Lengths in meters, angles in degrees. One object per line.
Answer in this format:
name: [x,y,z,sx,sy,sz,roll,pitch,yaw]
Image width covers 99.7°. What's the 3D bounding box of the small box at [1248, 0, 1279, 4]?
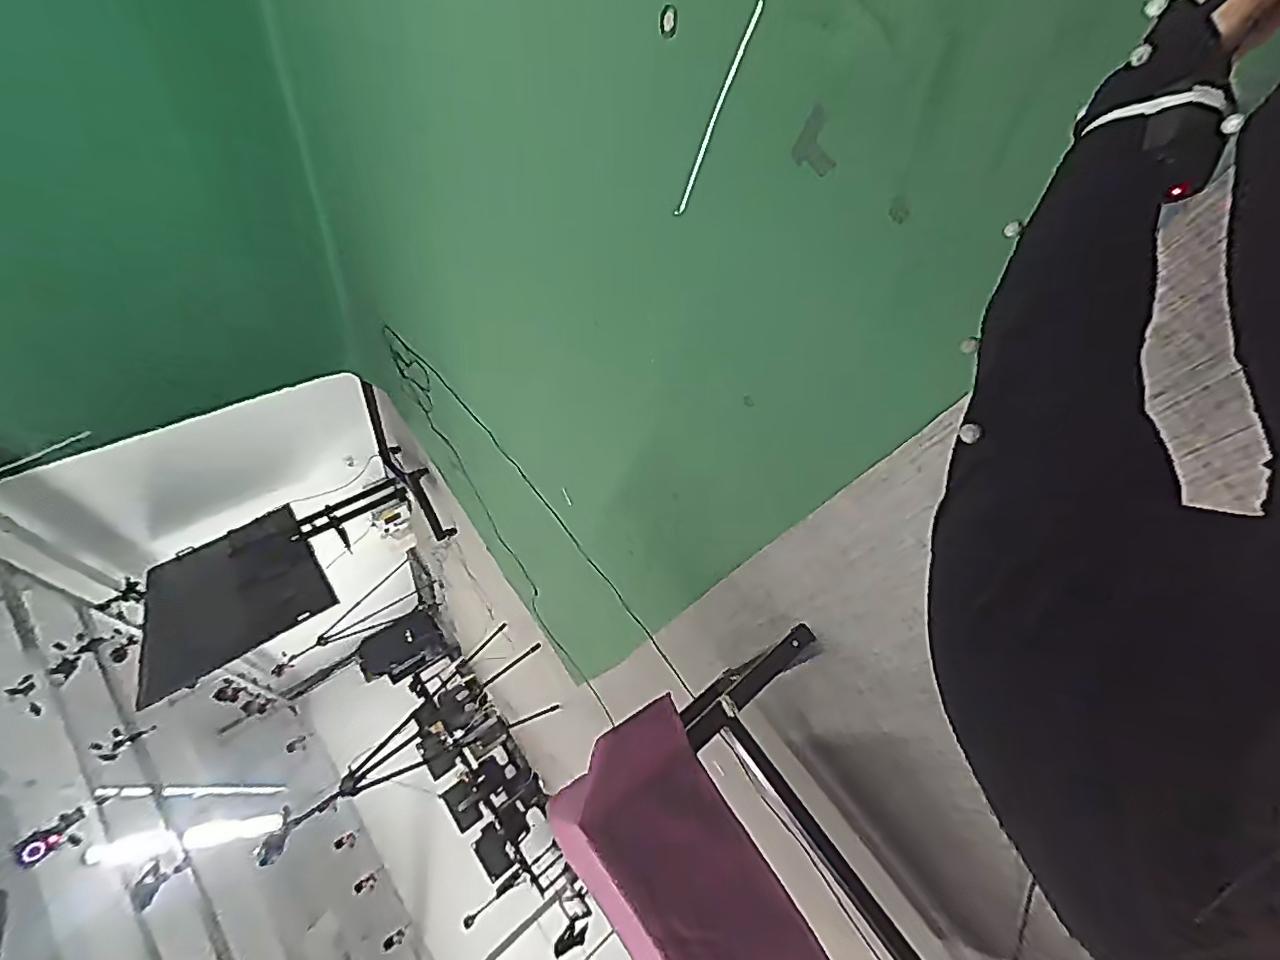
small box: [0.548,-0.456,0.355,0.168,0.176,0.179,13,122,51]
